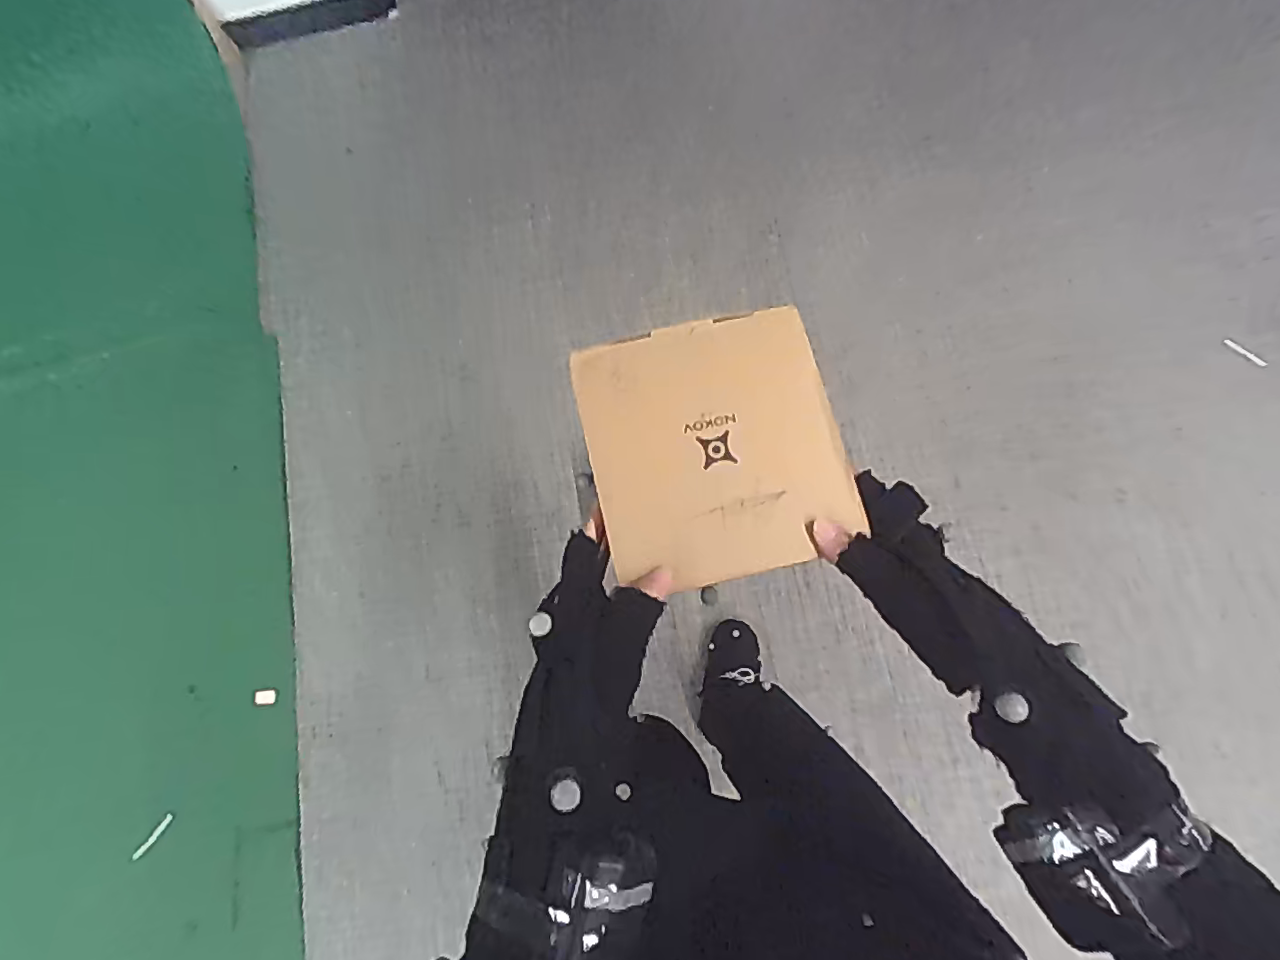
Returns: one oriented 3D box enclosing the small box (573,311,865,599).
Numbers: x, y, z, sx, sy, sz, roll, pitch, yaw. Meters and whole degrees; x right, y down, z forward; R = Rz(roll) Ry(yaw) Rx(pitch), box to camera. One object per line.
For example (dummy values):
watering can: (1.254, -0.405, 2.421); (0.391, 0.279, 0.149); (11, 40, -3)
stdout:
small box: (0.048, -0.006, 0.444); (0.168, 0.176, 0.179); (-14, 79, -3)
